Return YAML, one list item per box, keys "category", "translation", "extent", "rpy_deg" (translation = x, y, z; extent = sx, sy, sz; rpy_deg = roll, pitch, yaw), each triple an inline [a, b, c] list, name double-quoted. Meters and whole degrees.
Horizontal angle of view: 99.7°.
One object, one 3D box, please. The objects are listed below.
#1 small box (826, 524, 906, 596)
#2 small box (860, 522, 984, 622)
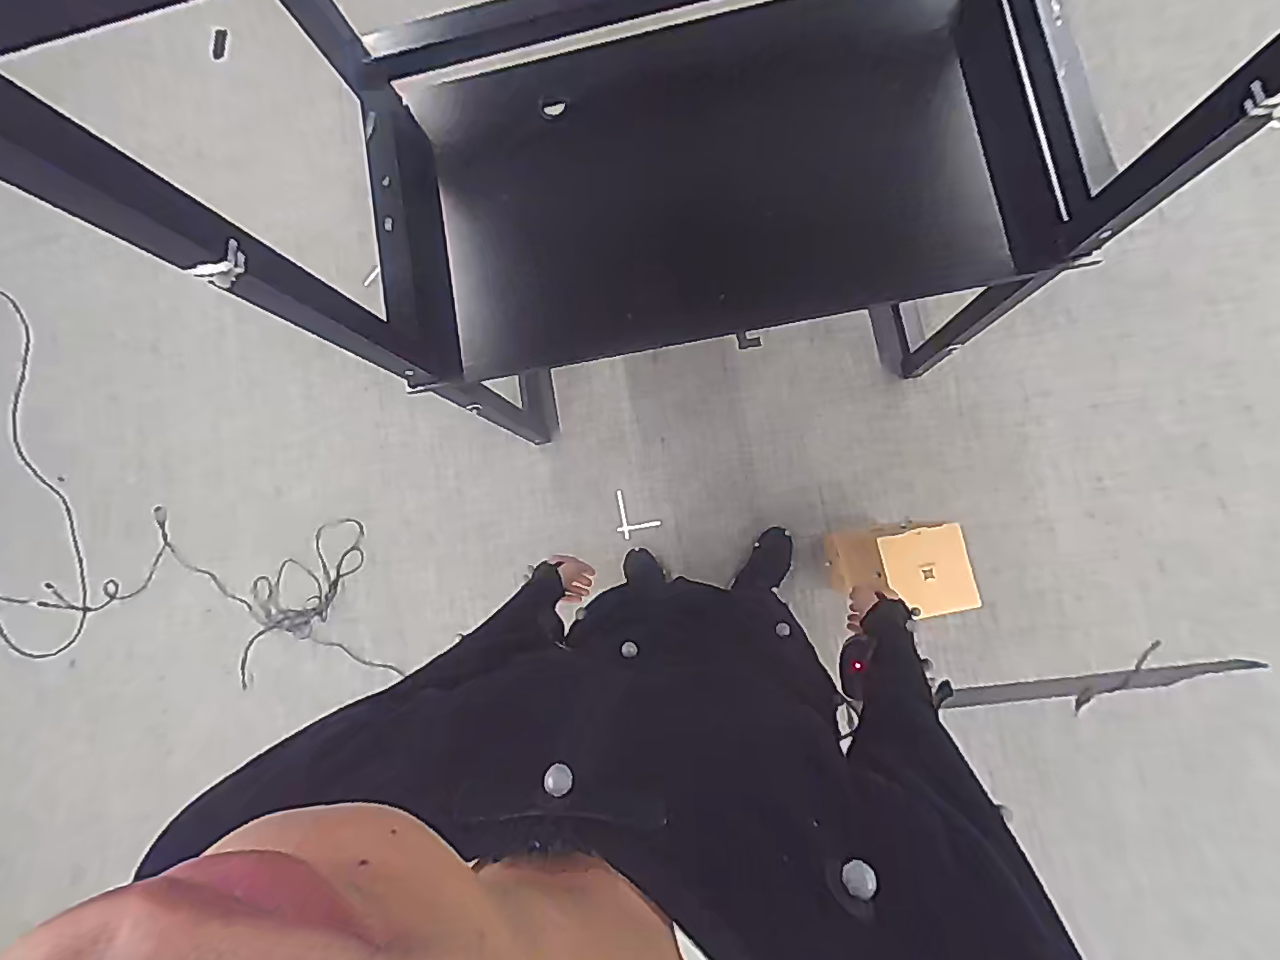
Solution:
- category: "small box"
  translation: [0.629, 0.213, 1.482]
  extent: [0.179, 0.176, 0.168]
  rpy_deg: [-12, 83, 7]
- category: "small box"
  translation: [0.593, 0.189, 1.158]
  extent: [0.168, 0.176, 0.179]
  rpy_deg: [-13, 83, 6]
